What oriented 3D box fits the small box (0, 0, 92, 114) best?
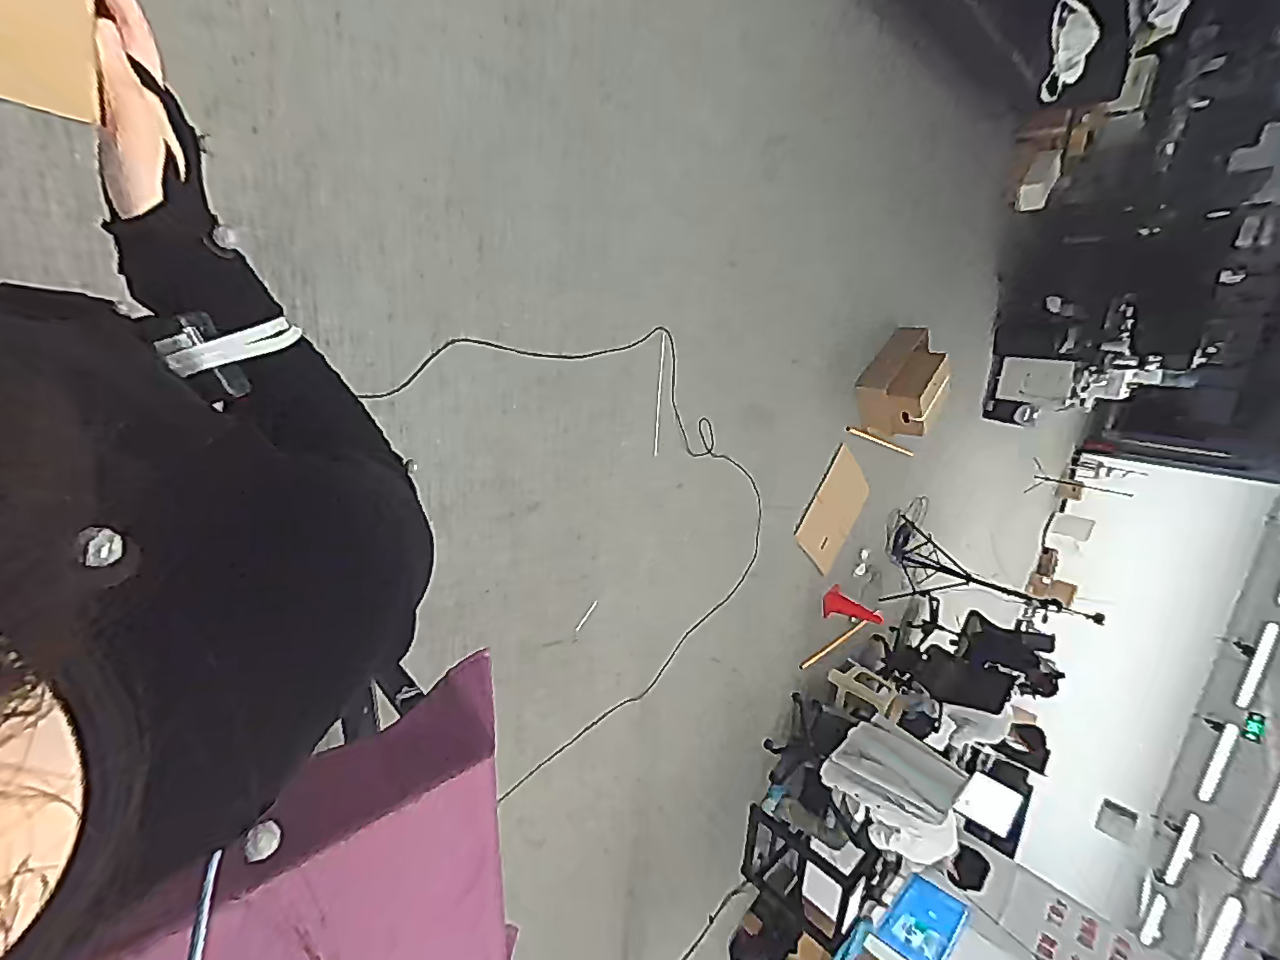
[{"bbox_3d":[-0.349,-0.284,0.224,0.168,0.176,0.179,-2,117,-43],"label":"small box"}]
